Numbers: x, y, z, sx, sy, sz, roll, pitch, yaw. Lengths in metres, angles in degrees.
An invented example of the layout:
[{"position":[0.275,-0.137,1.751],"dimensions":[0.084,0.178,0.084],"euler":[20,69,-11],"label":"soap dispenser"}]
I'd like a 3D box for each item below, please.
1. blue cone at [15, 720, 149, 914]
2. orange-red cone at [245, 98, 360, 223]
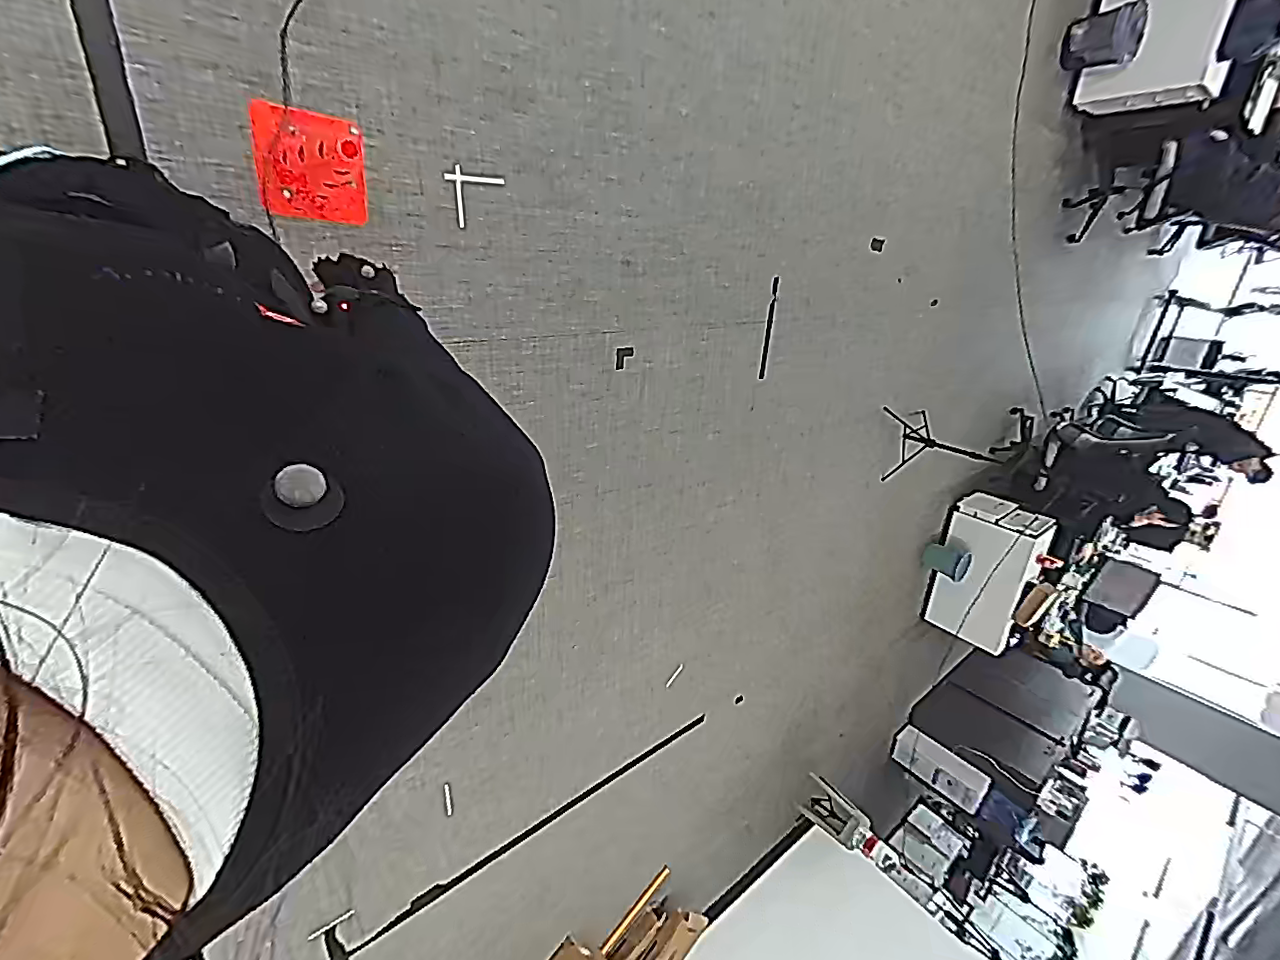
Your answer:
[{"position":[-1.140,0.689,1.093],"dimensions":[0.192,0.380,0.193],"euler":[-9,114,-37],"label":"blue cone"},{"position":[-0.578,-0.588,0.990],"dimensions":[0.199,0.360,0.198],"euler":[-10,116,-39],"label":"orange-red cone"}]
